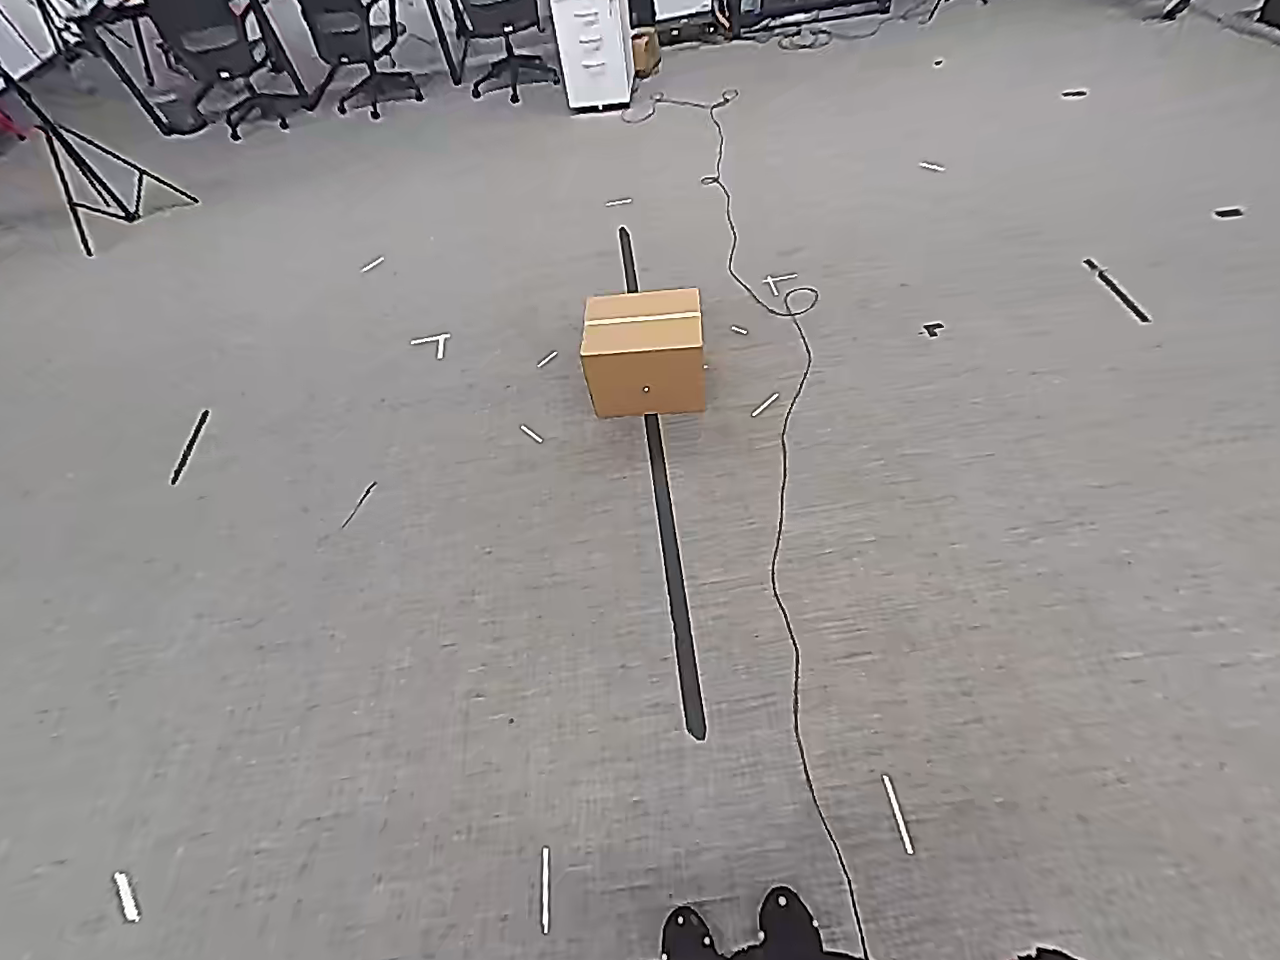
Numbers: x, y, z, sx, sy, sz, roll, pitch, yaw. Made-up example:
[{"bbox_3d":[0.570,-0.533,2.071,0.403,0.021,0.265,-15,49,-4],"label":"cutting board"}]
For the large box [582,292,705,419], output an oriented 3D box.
[{"bbox_3d":[0.022,-0.443,1.956,0.408,0.320,0.320,-3,55,6],"label":"large box"}]
